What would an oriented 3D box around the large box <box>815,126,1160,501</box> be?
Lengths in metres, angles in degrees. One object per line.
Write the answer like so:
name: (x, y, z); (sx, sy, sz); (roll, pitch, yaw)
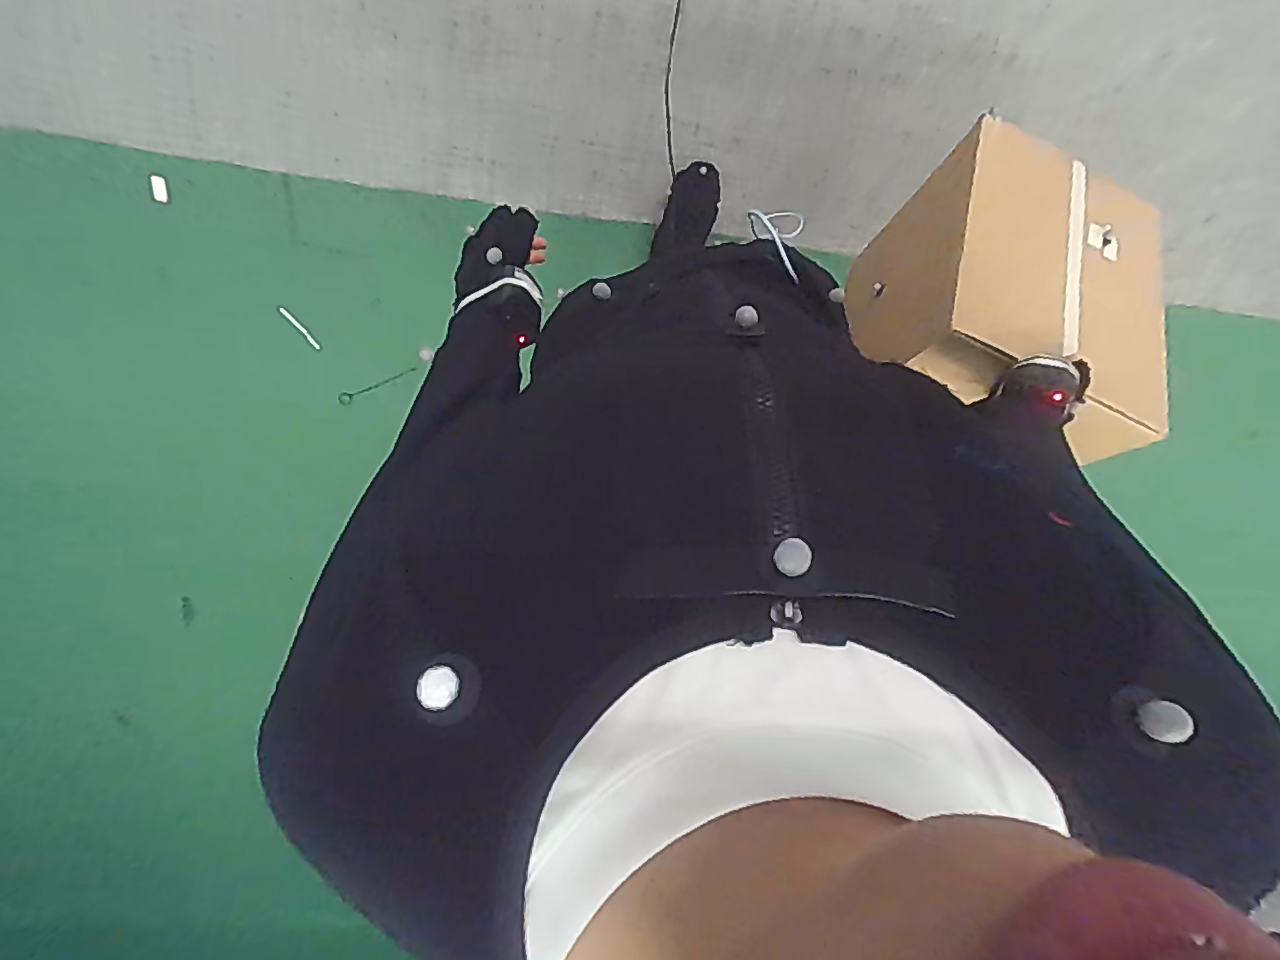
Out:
large box: (0.520, -0.232, 0.853); (0.320, 0.408, 0.320); (23, 157, -7)
